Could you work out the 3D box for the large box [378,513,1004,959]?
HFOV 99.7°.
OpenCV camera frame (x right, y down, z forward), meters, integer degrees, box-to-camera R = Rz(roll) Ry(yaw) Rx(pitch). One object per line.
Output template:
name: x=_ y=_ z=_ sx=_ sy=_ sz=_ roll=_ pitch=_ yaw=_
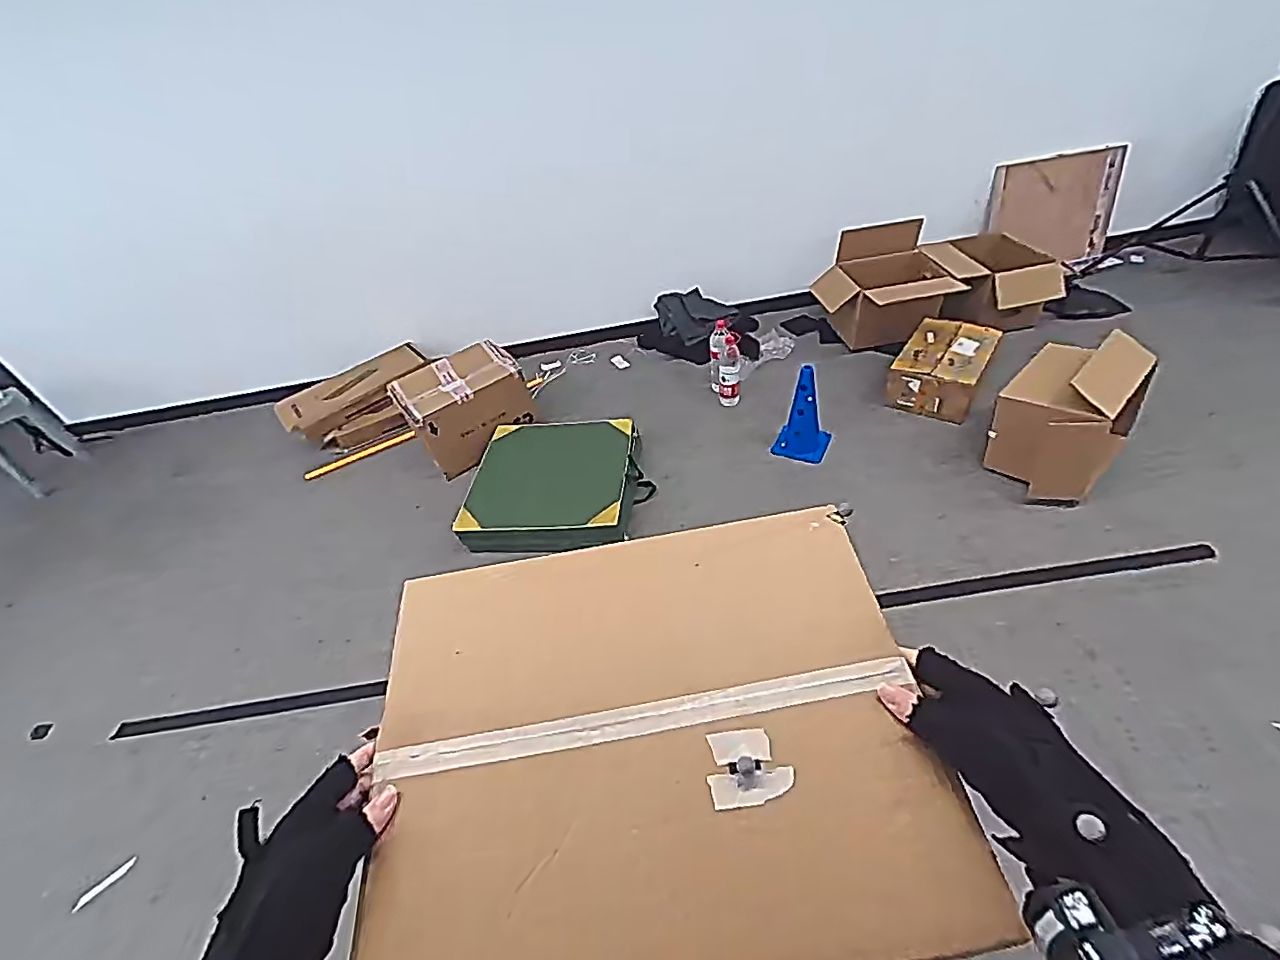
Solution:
large box: x=0.023 y=0.276 z=0.535 sx=0.408 sy=0.320 sz=0.320 roll=-10 pitch=52 yaw=-1
